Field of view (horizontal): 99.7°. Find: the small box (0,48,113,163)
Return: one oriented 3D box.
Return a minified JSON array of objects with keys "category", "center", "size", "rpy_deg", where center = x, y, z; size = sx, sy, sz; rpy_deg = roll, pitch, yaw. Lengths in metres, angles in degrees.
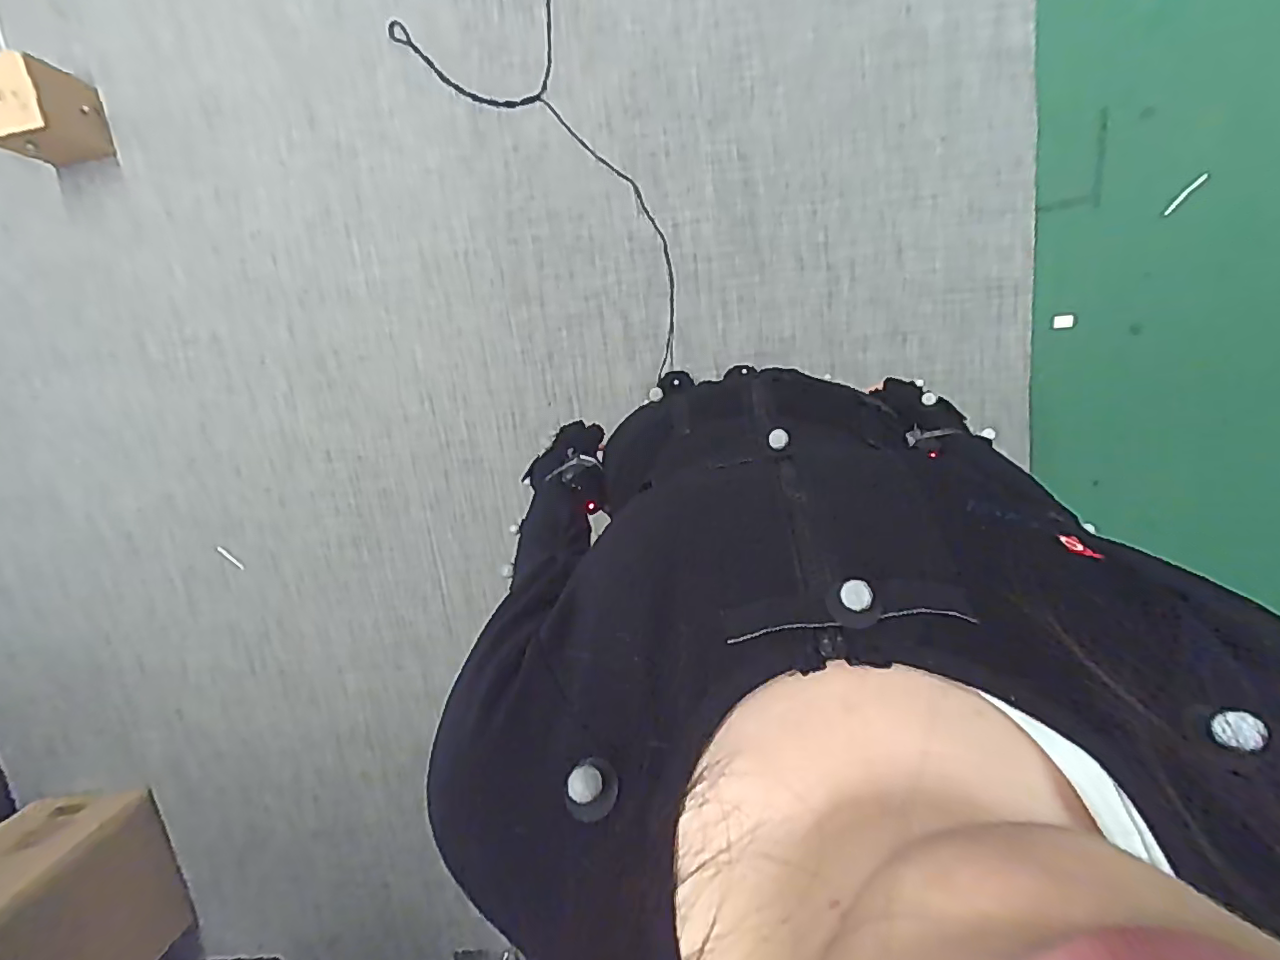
[{"category":"small box","center":[-1.462,-0.899,1.316],"size":[0.179,0.176,0.168],"rpy_deg":[-8,102,5]}]
